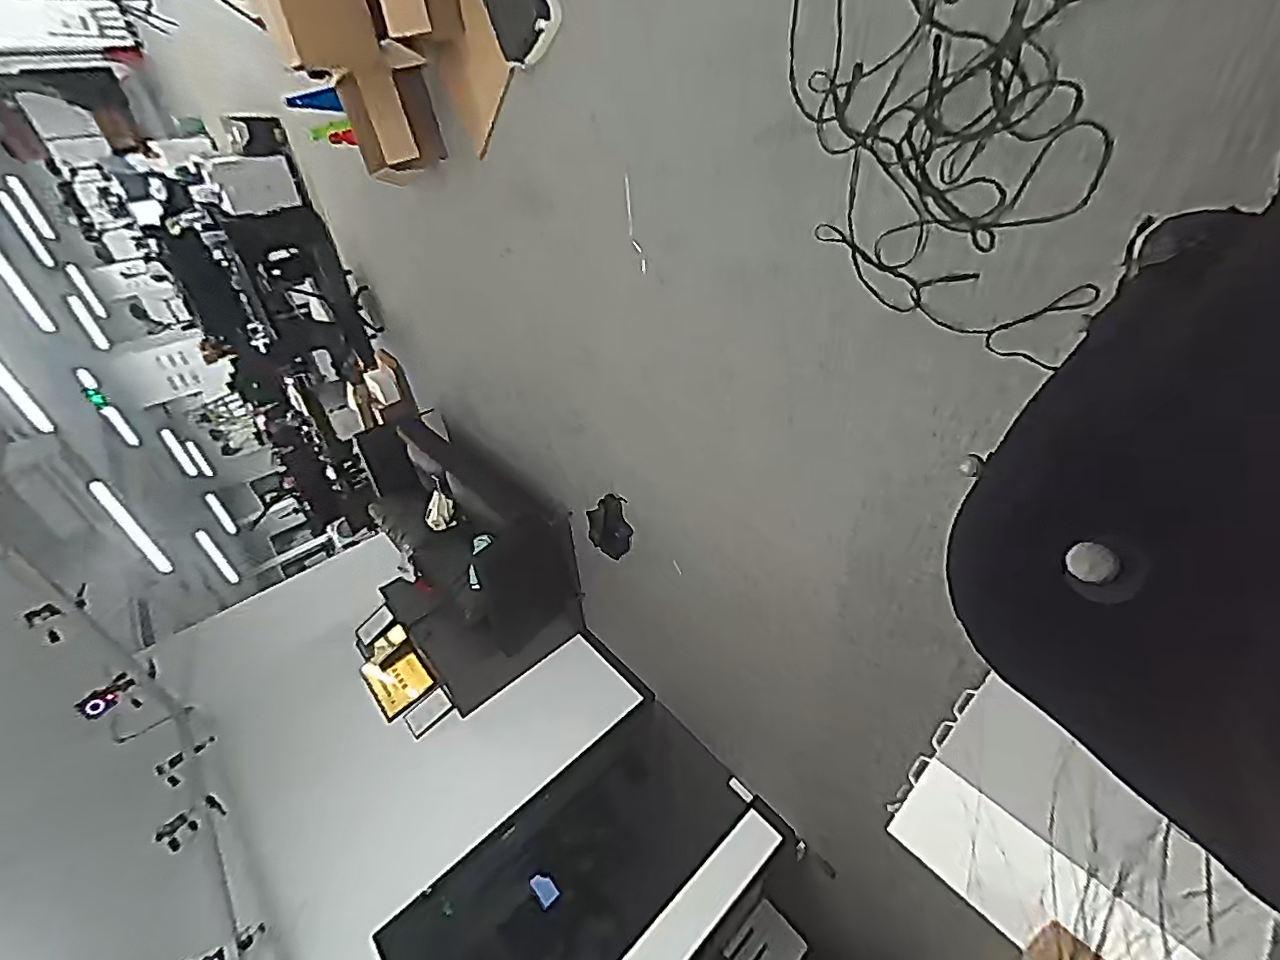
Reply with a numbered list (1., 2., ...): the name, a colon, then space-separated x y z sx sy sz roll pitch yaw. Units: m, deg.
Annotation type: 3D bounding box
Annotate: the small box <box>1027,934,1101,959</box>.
1. small box: 0.820 1.002 1.008 0.179 0.176 0.168 30 139 41
